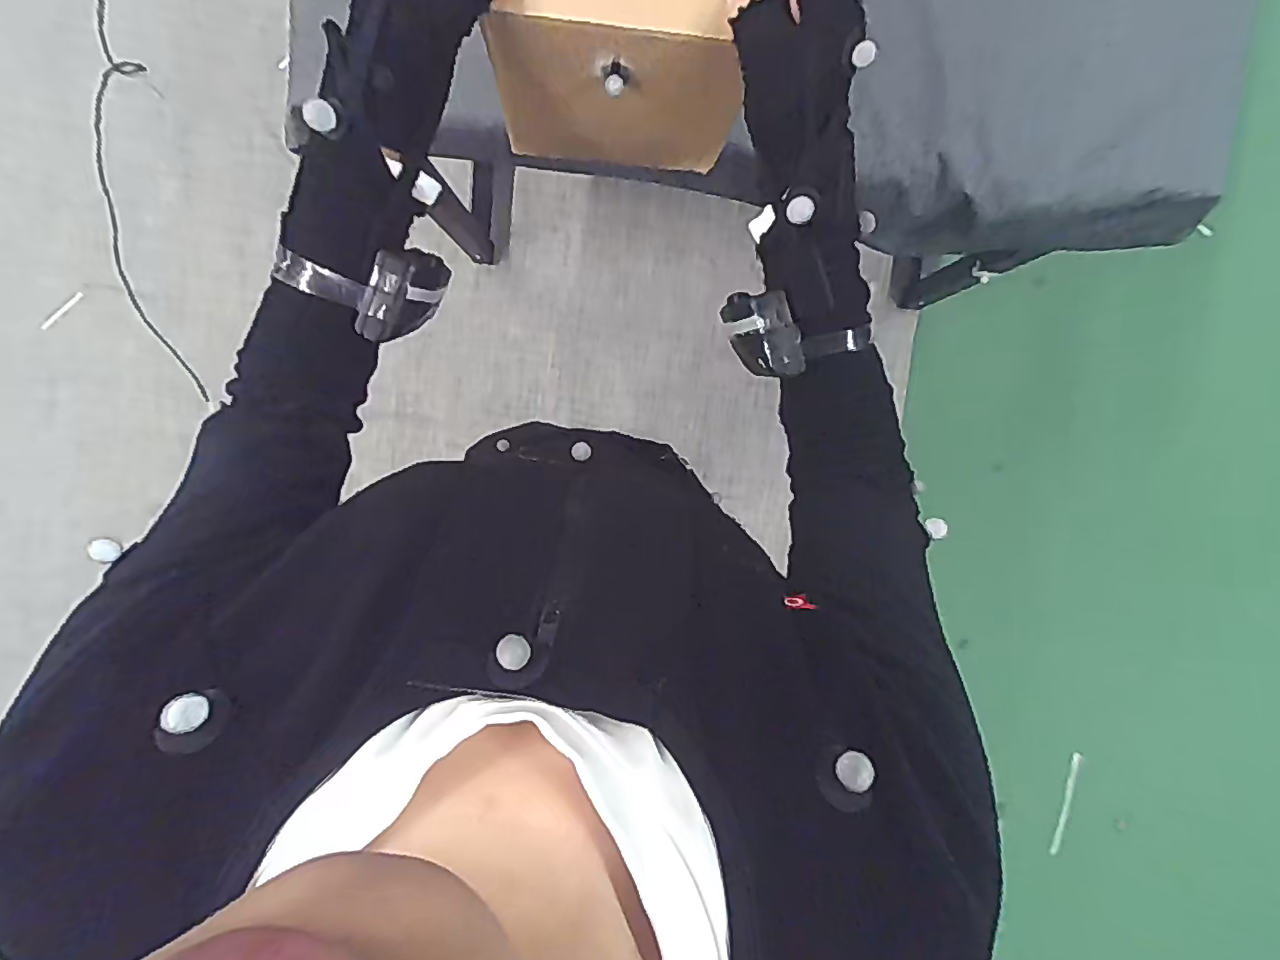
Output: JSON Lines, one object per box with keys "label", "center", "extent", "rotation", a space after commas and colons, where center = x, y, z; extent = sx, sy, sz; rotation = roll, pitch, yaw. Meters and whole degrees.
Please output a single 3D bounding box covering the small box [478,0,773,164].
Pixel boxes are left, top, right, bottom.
{"label": "small box", "center": [-0.011, -0.354, 0.387], "extent": [0.179, 0.176, 0.168], "rotation": [2, 96, -6]}
